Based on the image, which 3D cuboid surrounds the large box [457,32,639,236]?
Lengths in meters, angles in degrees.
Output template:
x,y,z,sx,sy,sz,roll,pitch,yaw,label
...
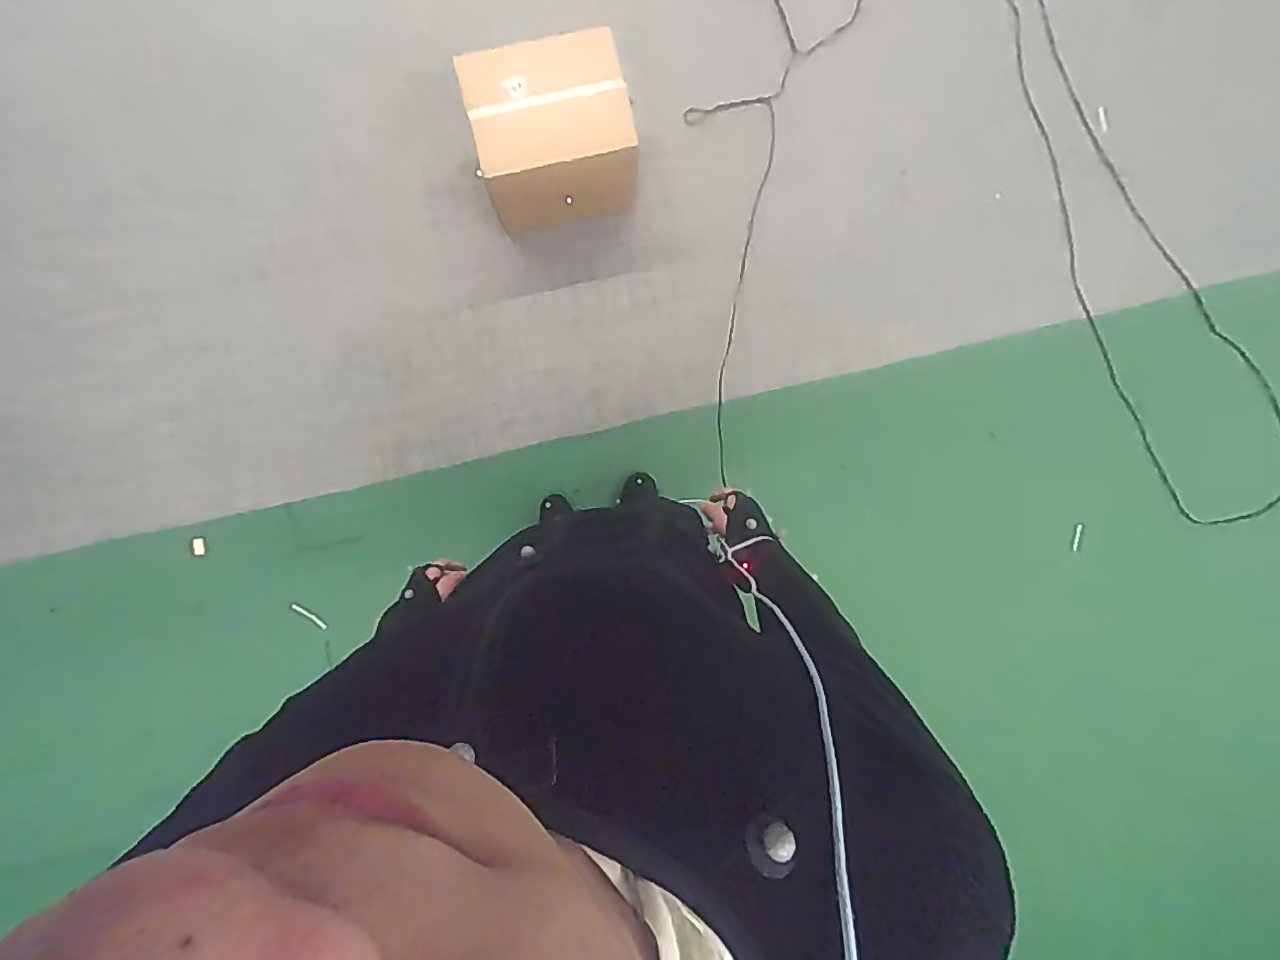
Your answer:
x,y,z,sx,sy,sz,roll,pitch,yaw,label
-0.236,-0.938,1.511,0.408,0.320,0.320,-15,90,-2,large box
